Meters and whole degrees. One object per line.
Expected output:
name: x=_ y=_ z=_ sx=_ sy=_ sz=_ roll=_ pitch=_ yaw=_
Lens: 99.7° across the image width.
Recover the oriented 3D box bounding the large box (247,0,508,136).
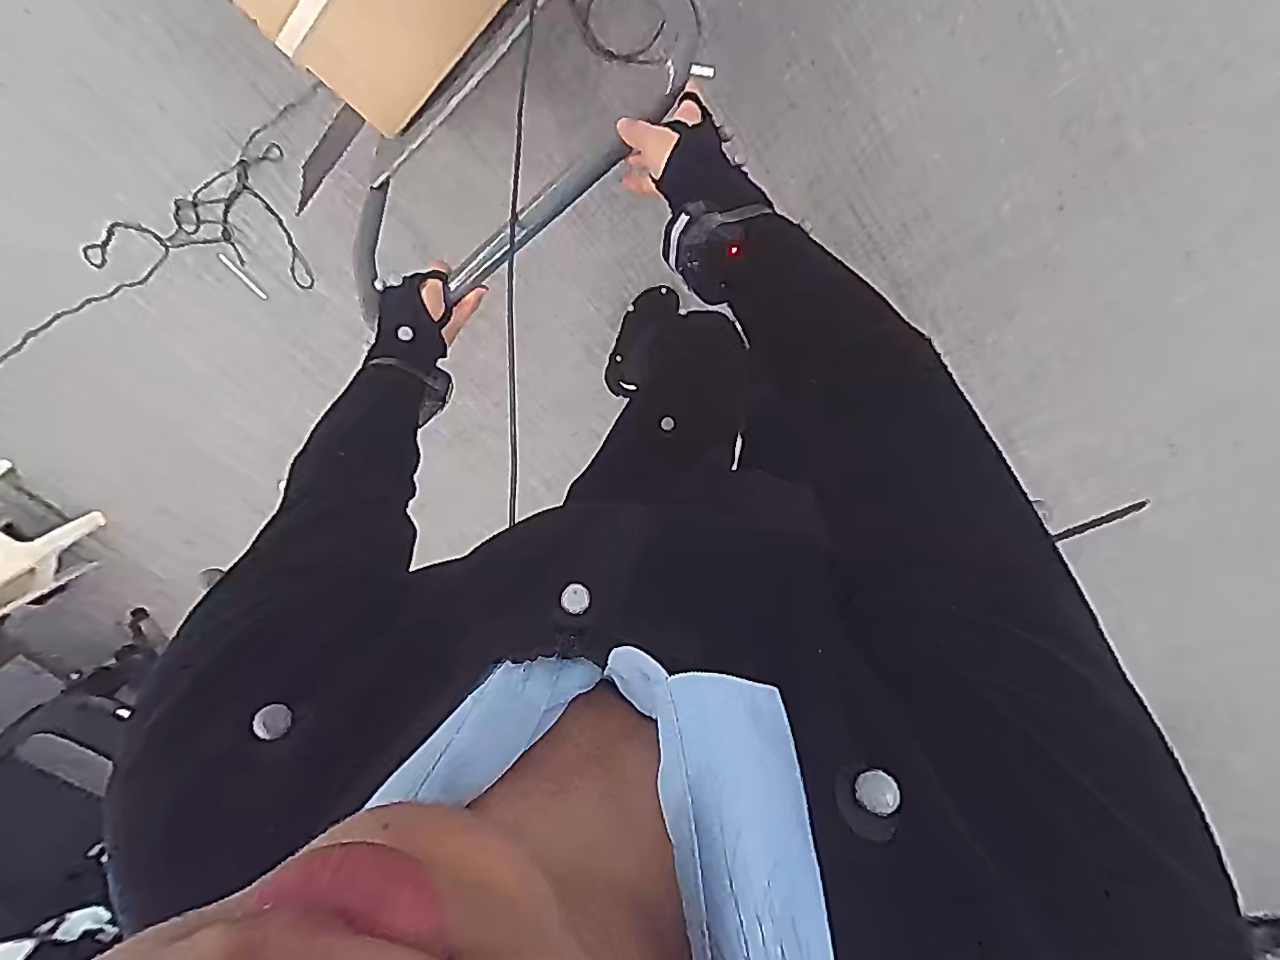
large box: x=-0.329 y=-0.790 z=0.727 sx=0.408 sy=0.320 sz=0.320 roll=-31 pitch=138 yaw=26
